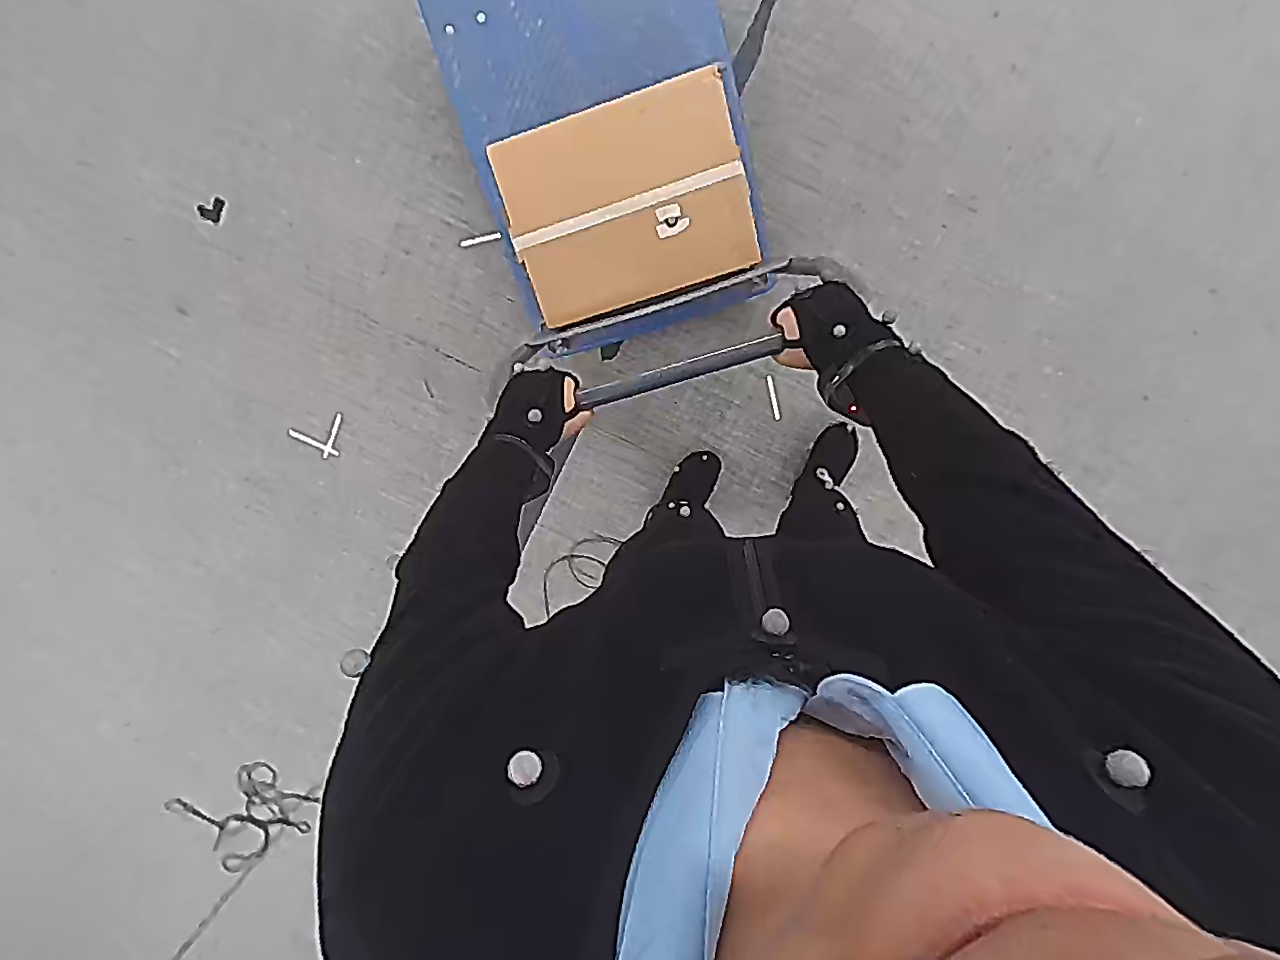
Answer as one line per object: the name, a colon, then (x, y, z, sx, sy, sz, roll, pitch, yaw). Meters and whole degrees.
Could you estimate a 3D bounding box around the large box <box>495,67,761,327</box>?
large box: (-0.016, -0.523, 1.087, 0.408, 0.320, 0.320, -17, 108, 5)
